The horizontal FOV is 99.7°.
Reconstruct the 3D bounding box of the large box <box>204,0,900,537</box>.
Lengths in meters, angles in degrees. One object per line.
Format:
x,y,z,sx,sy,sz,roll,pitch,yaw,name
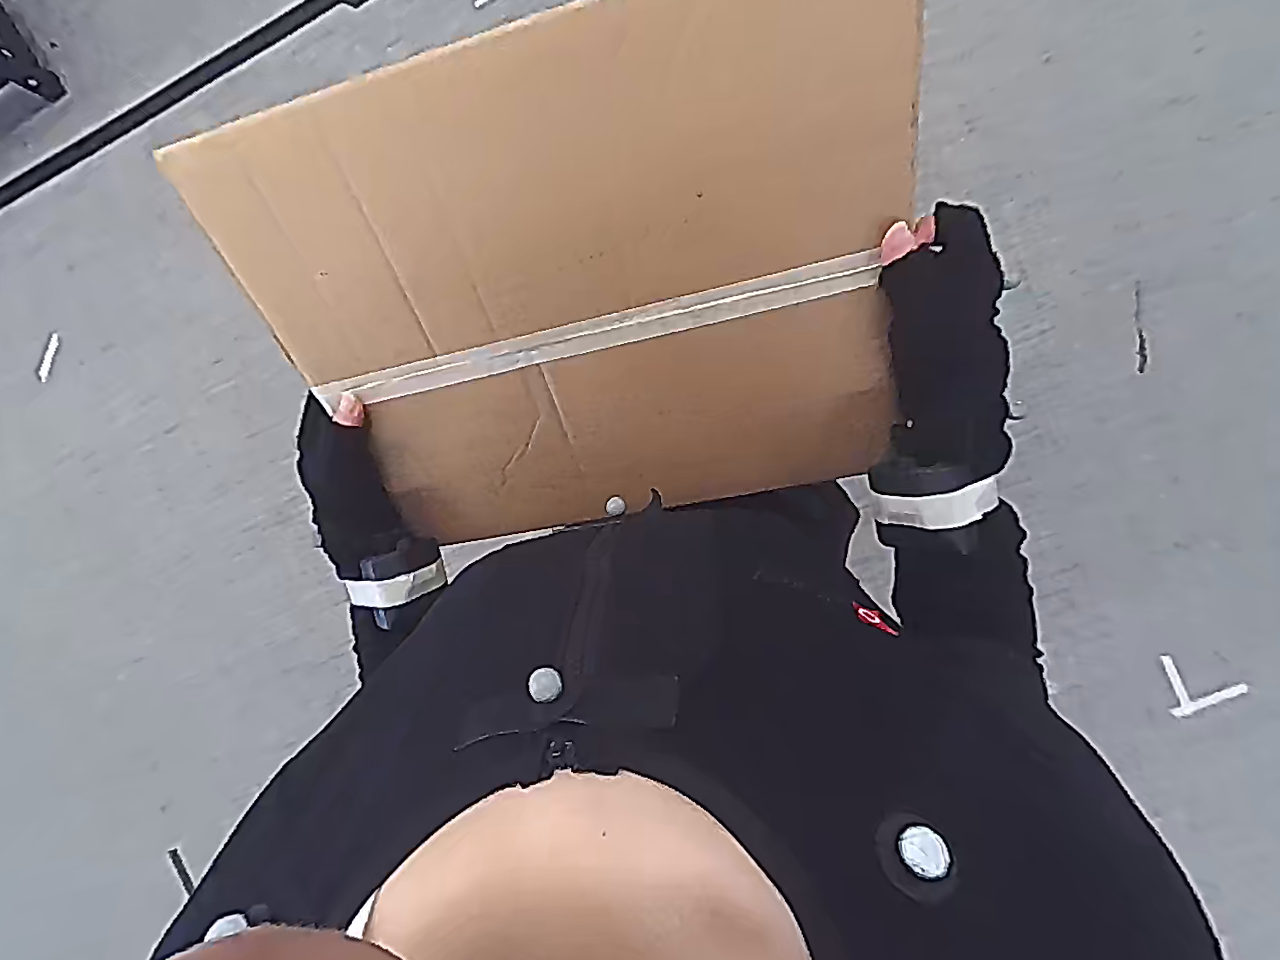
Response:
-0.025,-0.192,0.486,0.408,0.320,0.320,-10,126,11,large box
